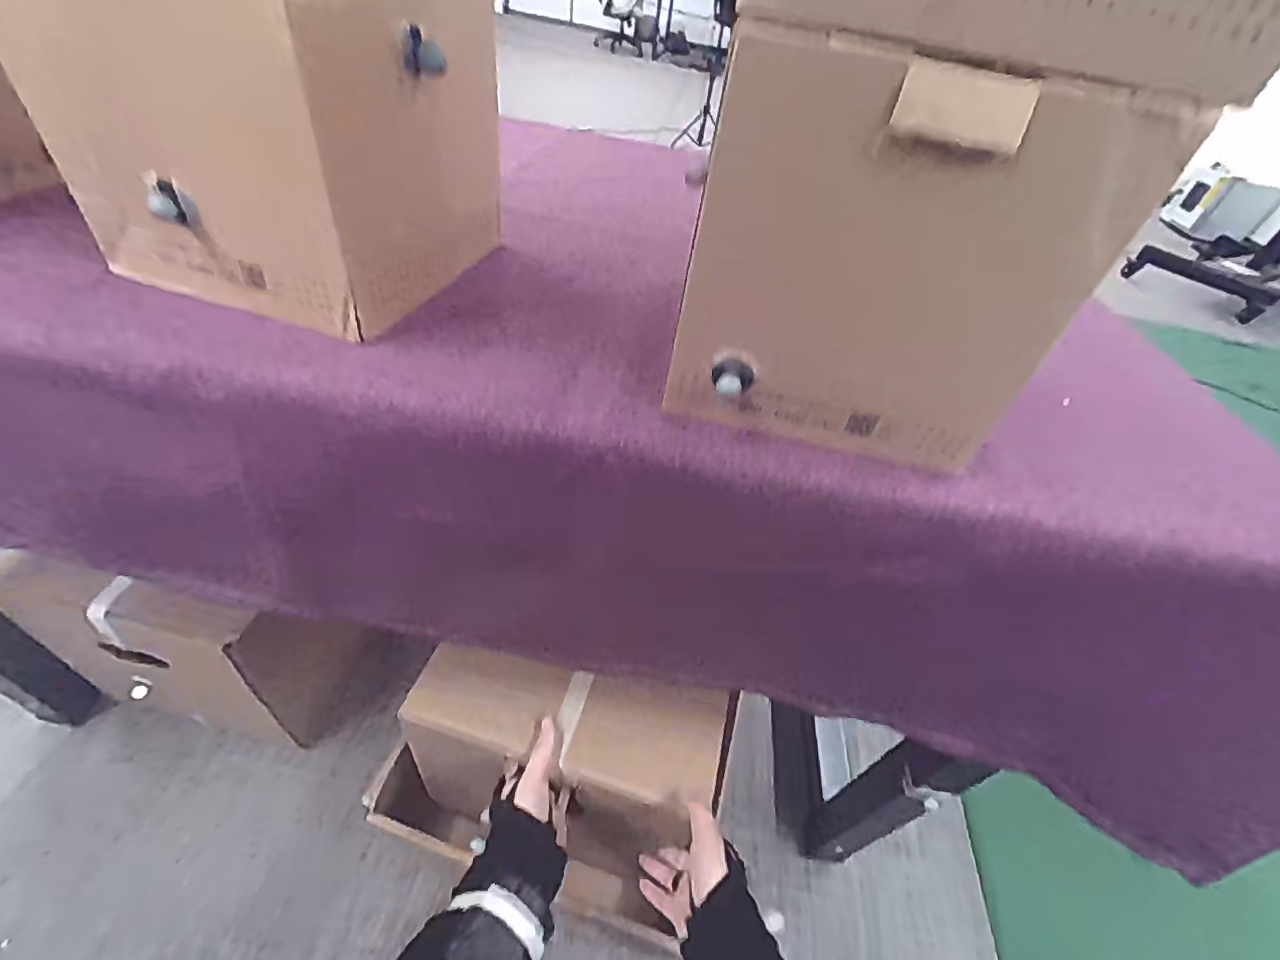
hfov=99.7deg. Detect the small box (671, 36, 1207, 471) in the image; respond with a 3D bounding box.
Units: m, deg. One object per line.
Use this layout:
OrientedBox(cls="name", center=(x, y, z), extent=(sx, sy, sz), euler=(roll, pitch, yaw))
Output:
OrientedBox(cls="small box", center=(0.117, -0.129, 0.299), extent=(0.168, 0.176, 0.179), euler=(13, 43, 3))
